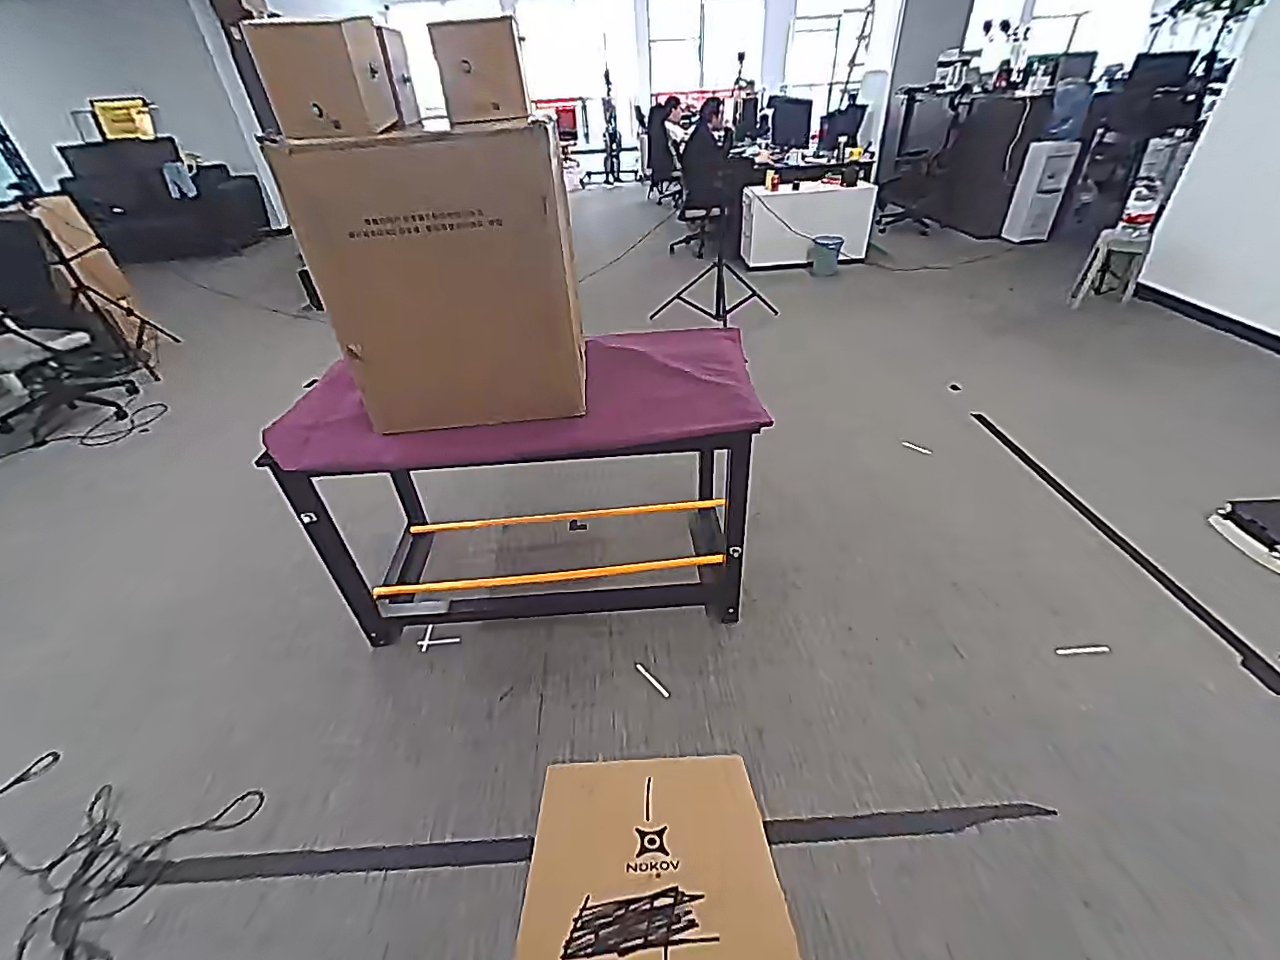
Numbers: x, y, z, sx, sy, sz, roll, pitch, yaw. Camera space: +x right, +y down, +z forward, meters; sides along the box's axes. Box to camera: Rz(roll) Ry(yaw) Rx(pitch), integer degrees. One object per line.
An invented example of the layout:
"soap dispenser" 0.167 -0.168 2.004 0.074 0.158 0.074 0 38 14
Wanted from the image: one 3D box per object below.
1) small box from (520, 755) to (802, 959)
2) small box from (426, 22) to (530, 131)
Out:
"small box" 0.014 0.336 0.391 0.168 0.176 0.179 -3 14 -1
"small box" -0.333 -0.851 1.150 0.168 0.176 0.179 -7 36 -3
